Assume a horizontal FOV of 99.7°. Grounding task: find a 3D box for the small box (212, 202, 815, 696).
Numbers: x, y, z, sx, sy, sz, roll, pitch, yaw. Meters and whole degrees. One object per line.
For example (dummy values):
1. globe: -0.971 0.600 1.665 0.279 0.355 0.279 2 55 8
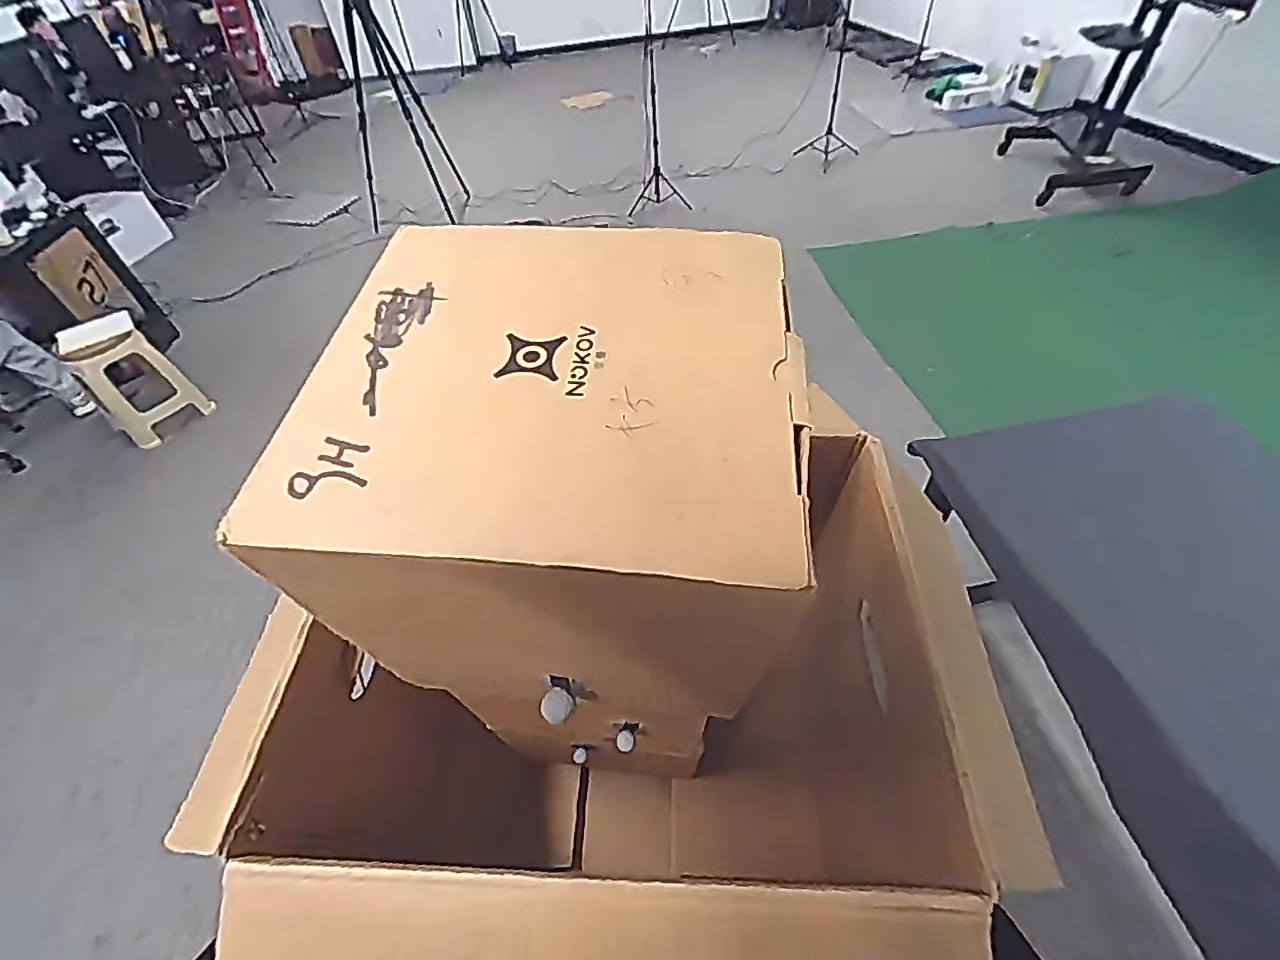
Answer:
1. small box: -0.031 -0.003 0.261 0.179 0.176 0.168 5 56 3
